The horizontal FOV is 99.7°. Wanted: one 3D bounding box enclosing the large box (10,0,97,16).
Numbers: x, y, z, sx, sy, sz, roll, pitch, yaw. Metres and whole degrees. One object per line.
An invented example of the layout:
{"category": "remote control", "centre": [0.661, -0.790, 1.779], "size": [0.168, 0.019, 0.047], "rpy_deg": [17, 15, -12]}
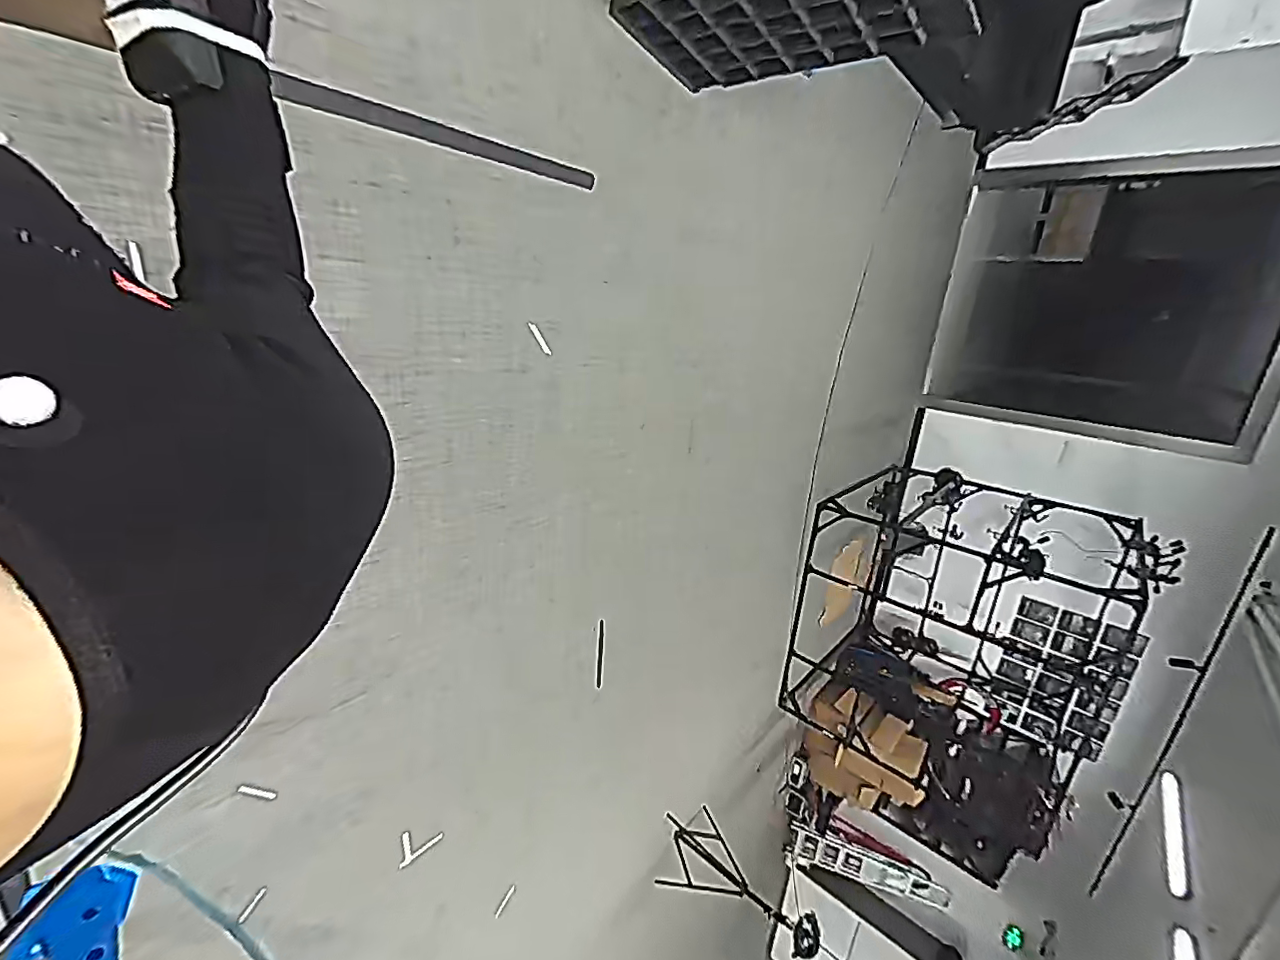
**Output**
{"category": "large box", "centre": [-0.541, -0.496, 0.244], "size": [0.408, 0.320, 0.320], "rpy_deg": [-18, 125, -49]}

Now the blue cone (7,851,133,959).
{"category": "blue cone", "centre": [-1.209, 1.034, 1.172], "size": [0.193, 0.380, 0.192], "rpy_deg": [16, 92, -53]}
